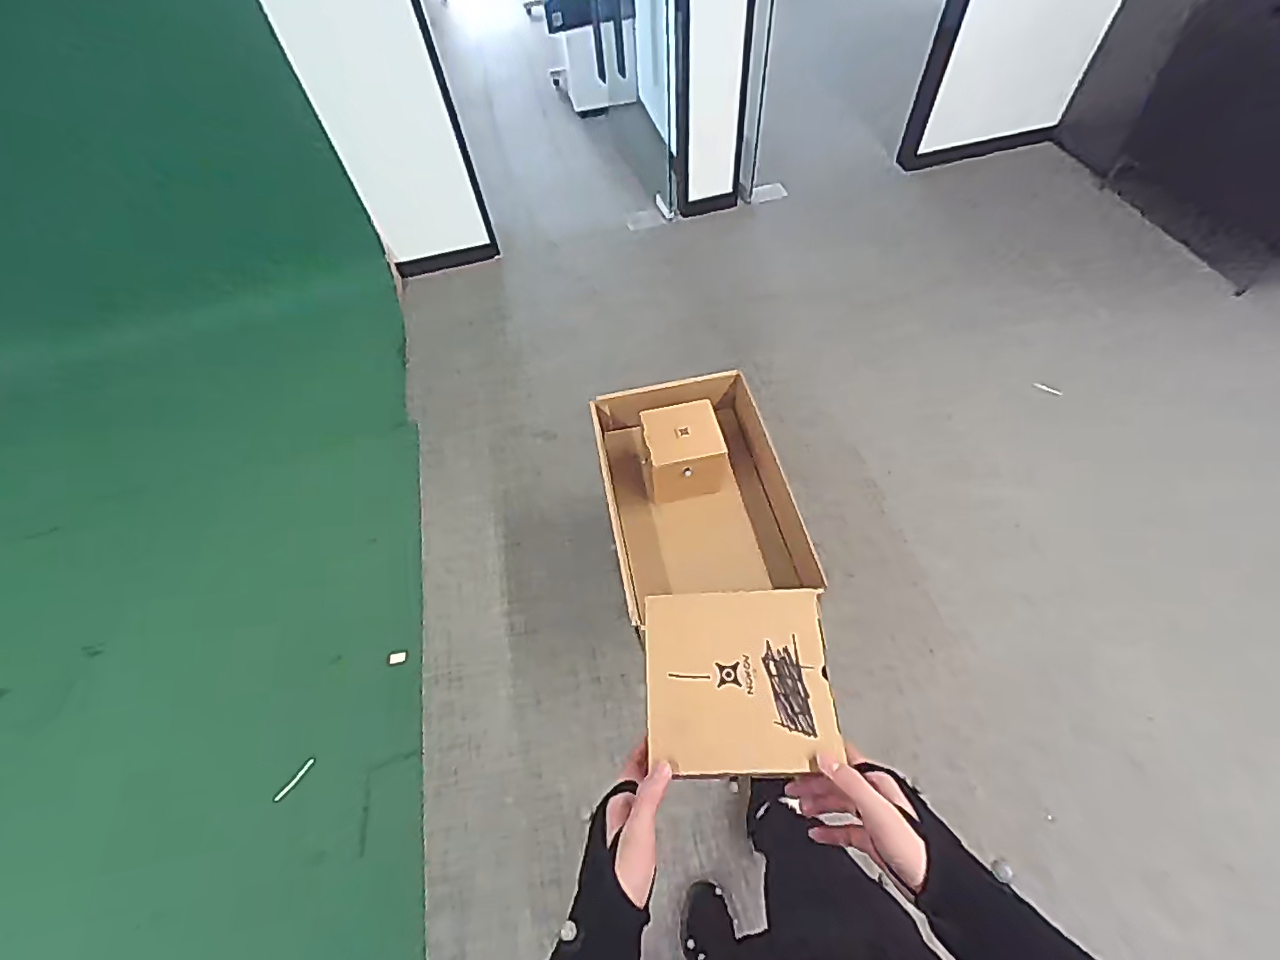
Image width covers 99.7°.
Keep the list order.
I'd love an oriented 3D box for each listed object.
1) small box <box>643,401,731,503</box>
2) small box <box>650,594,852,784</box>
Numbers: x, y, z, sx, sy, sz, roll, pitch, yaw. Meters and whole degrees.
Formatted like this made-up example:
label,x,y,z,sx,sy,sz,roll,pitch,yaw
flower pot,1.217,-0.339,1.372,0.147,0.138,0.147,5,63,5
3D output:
label,x,y,z,sx,sy,sz,roll,pitch,yaw
small box,0.109,-0.064,1.314,0.179,0.176,0.168,-12,57,-3
small box,0.101,0.228,0.578,0.179,0.176,0.168,-3,59,3
